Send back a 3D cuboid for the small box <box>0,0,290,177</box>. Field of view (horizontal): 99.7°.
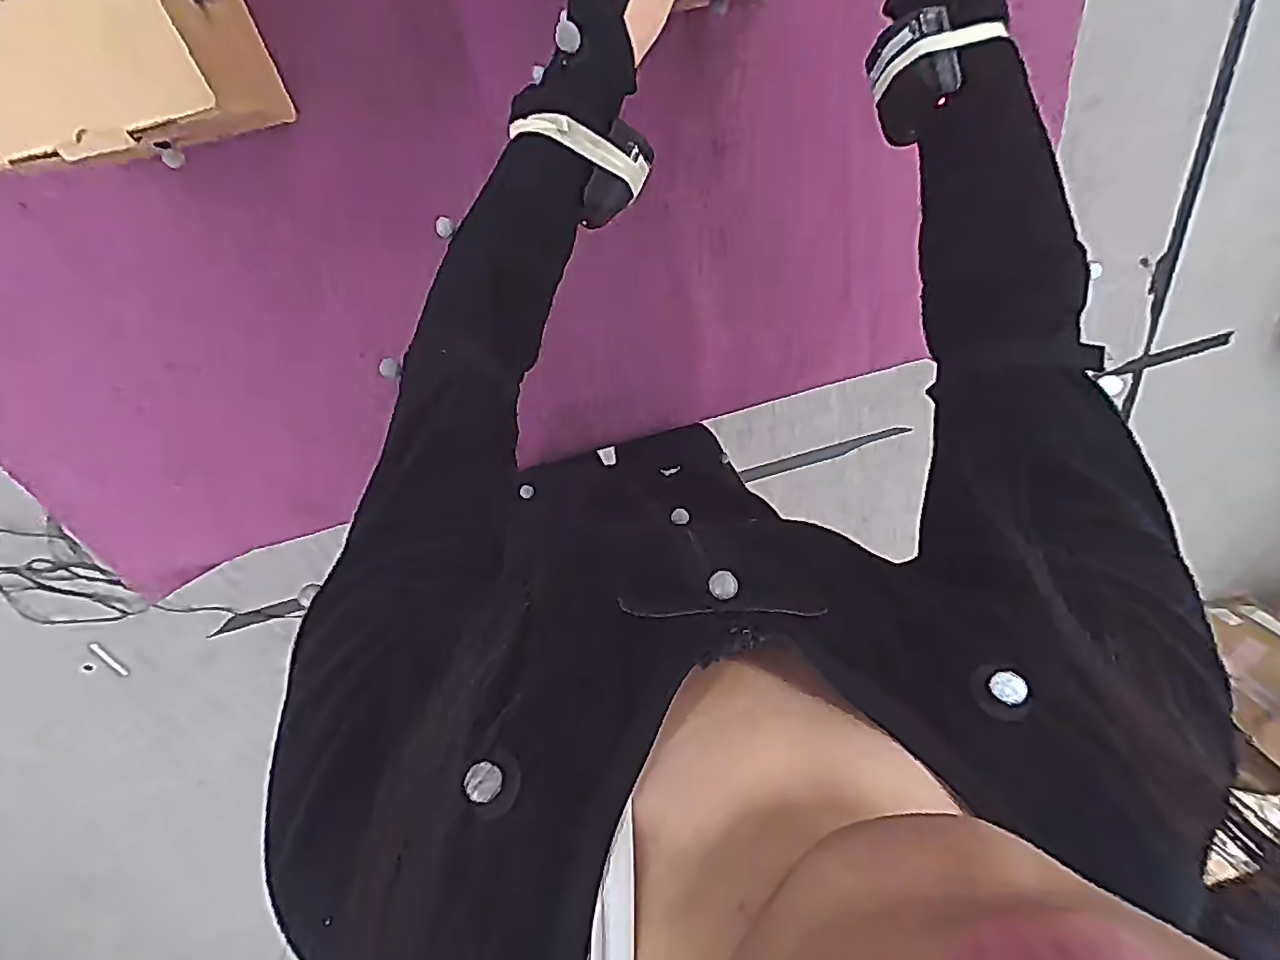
[{"bbox_3d":[-0.377,-0.324,0.359,0.168,0.176,0.179,-17,125,-4],"label":"small box"}]

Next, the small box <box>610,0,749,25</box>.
[{"bbox_3d":[0.052,-0.458,0.375,0.168,0.176,0.179,-16,123,-4],"label":"small box"}]
